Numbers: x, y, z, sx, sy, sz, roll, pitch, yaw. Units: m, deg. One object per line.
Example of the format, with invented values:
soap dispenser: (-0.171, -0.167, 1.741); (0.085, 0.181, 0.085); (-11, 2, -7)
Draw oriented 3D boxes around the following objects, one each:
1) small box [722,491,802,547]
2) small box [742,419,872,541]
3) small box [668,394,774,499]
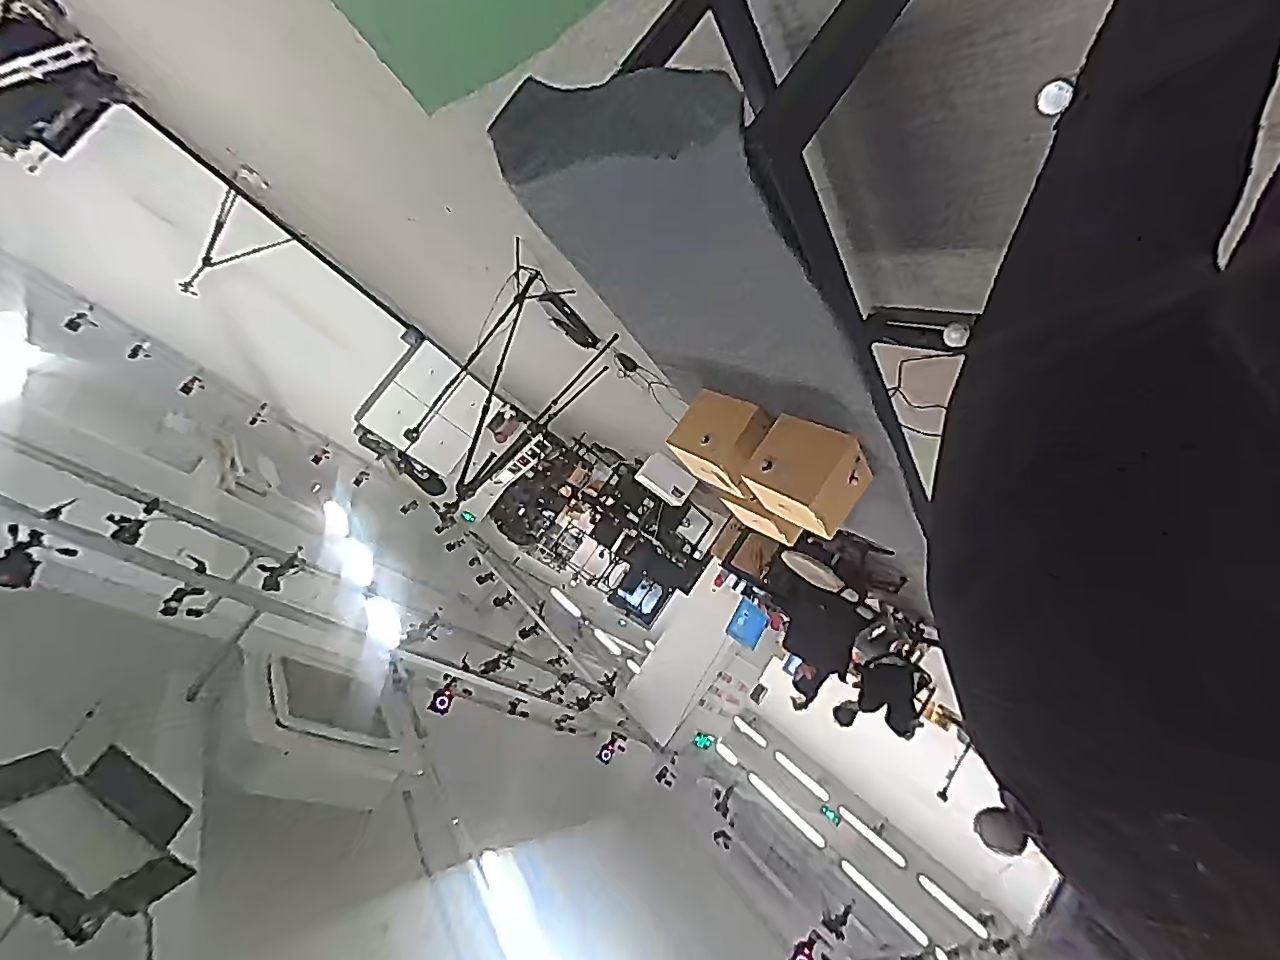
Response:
small box: (0.362, 0.049, 1.465); (0.179, 0.176, 0.168); (26, 168, 45)
small box: (0.354, -0.007, 1.137); (0.179, 0.176, 0.168); (28, 170, 44)
small box: (0.206, -0.085, 1.294); (0.179, 0.176, 0.168); (27, 170, 43)
